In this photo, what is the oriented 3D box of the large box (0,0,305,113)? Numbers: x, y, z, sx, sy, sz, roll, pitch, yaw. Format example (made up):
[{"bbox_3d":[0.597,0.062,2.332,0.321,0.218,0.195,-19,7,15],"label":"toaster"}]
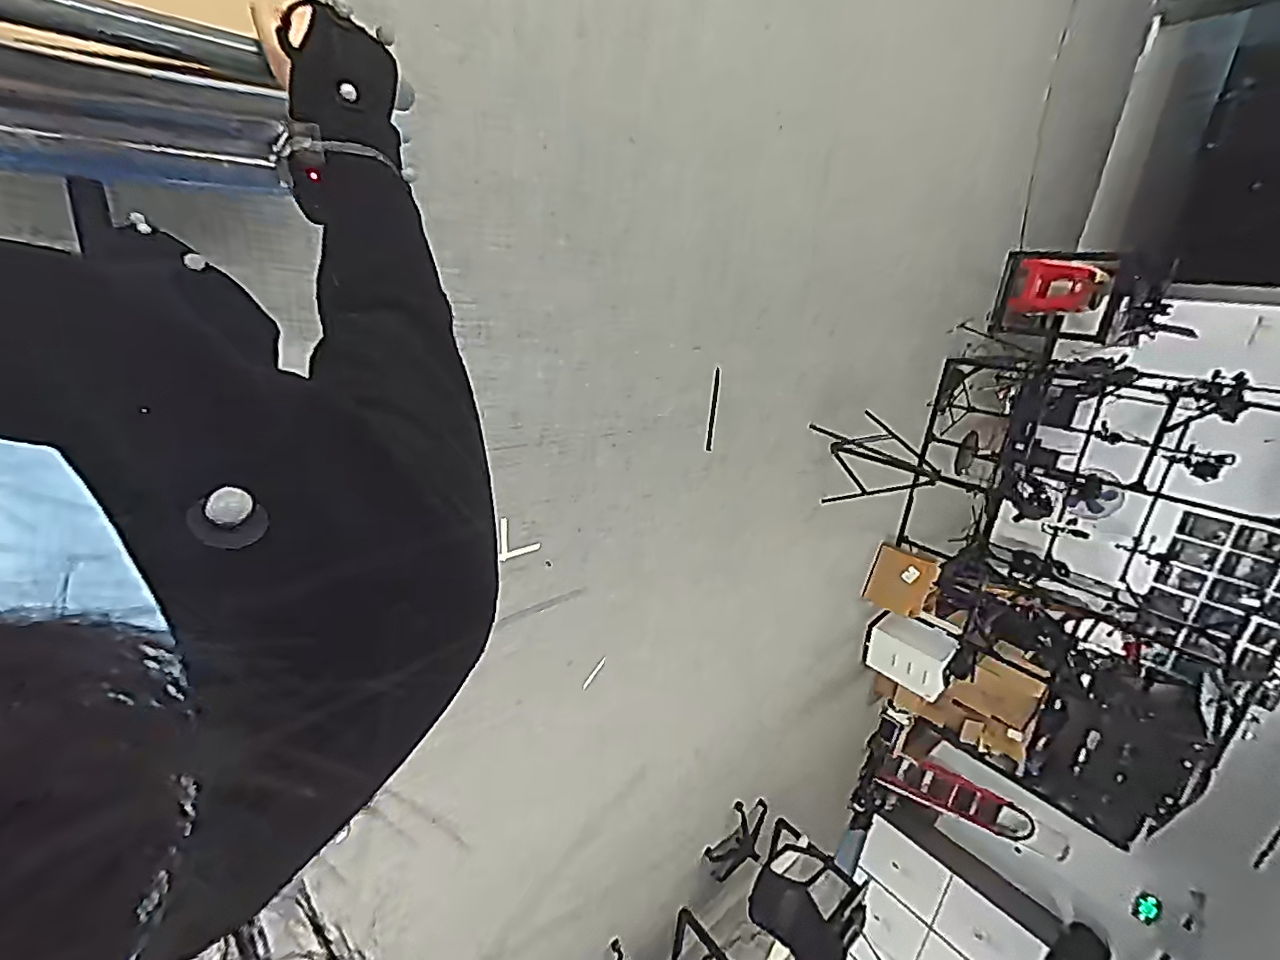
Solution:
[{"bbox_3d":[-0.731,-0.705,0.700,0.408,0.320,0.320,-20,122,-38],"label":"large box"}]
